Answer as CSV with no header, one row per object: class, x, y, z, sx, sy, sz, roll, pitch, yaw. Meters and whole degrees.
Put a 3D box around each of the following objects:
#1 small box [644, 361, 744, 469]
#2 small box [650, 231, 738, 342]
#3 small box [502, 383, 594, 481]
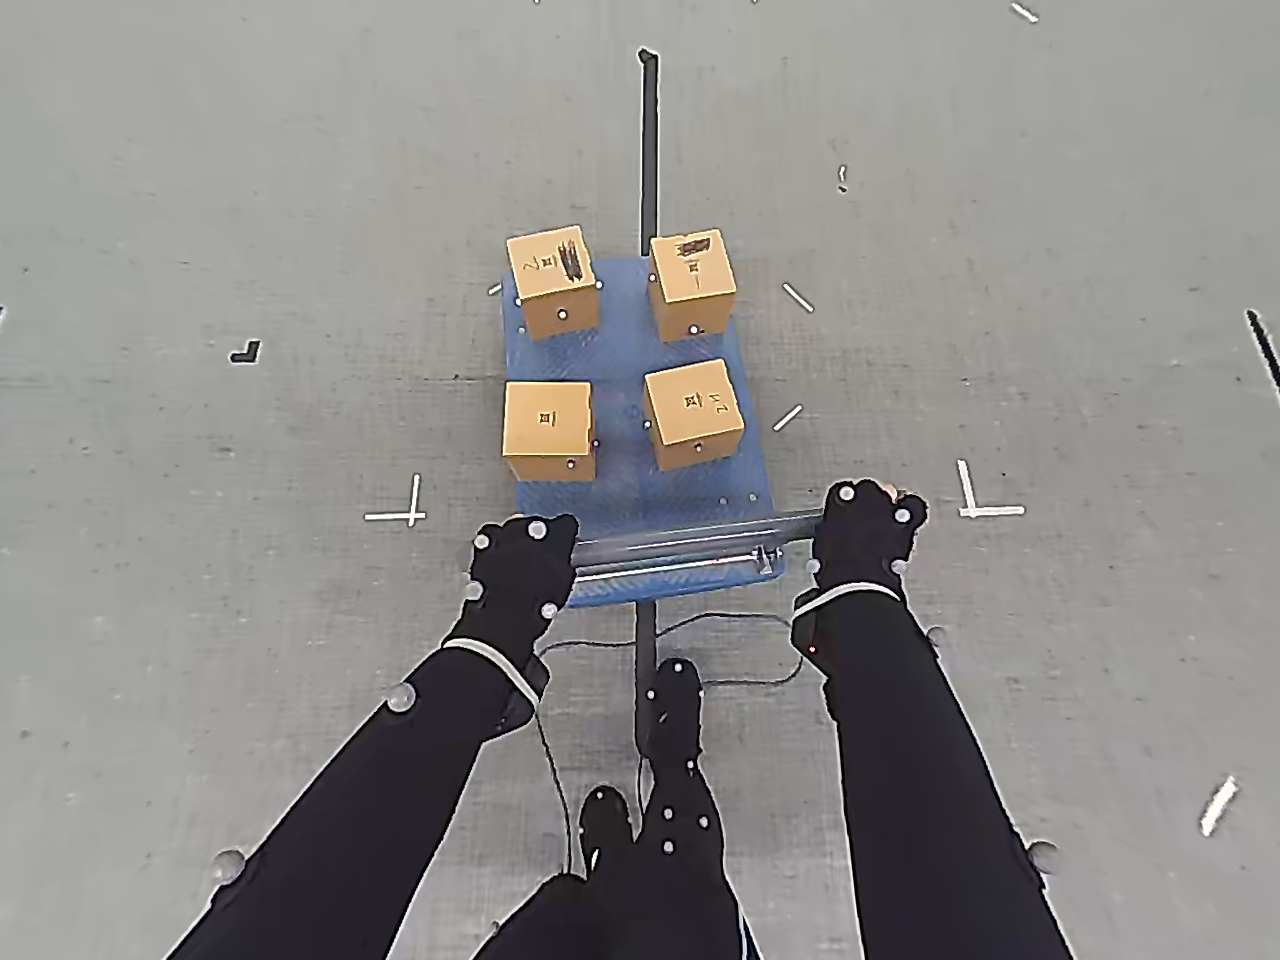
small box,0.110,-0.135,1.190,0.179,0.176,0.168,-12,74,-5
small box,0.120,-0.457,1.290,0.168,0.176,0.179,-10,74,-4
small box,-0.191,-0.098,1.172,0.179,0.176,0.168,0,72,-3
